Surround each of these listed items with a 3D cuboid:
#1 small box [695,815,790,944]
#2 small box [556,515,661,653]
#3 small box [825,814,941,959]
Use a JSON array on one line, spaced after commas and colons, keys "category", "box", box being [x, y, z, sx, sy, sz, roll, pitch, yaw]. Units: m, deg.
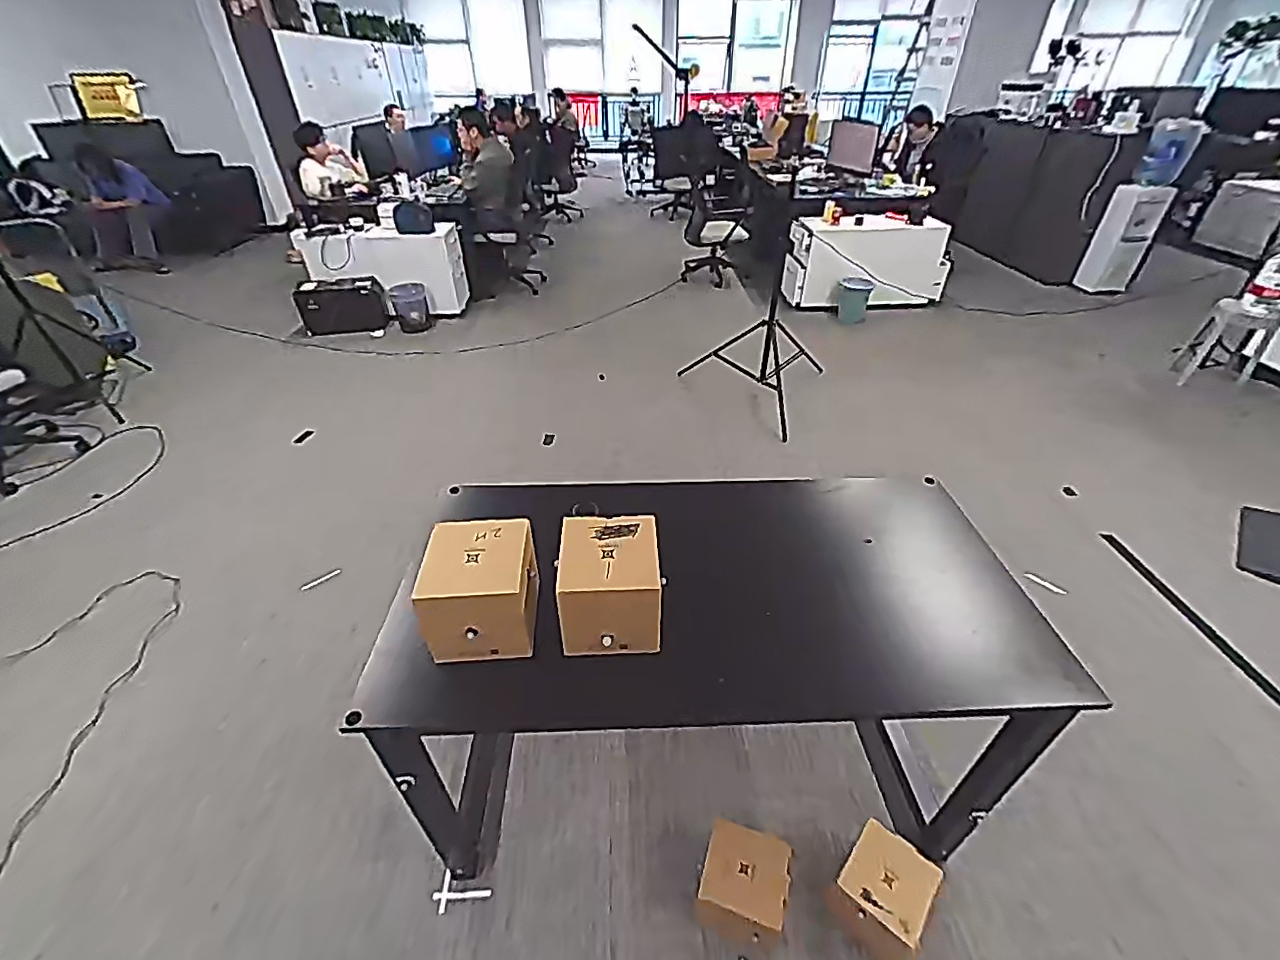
[{"category": "small box", "box": [0.228, 0.899, 1.213, 0.179, 0.176, 0.168, 11, 38, 16]}, {"category": "small box", "box": [-0.052, 0.182, 0.952, 0.168, 0.176, 0.179, -2, 38, -1]}, {"category": "small box", "box": [0.531, 0.902, 1.201, 0.168, 0.176, 0.179, 28, 46, 32]}]
